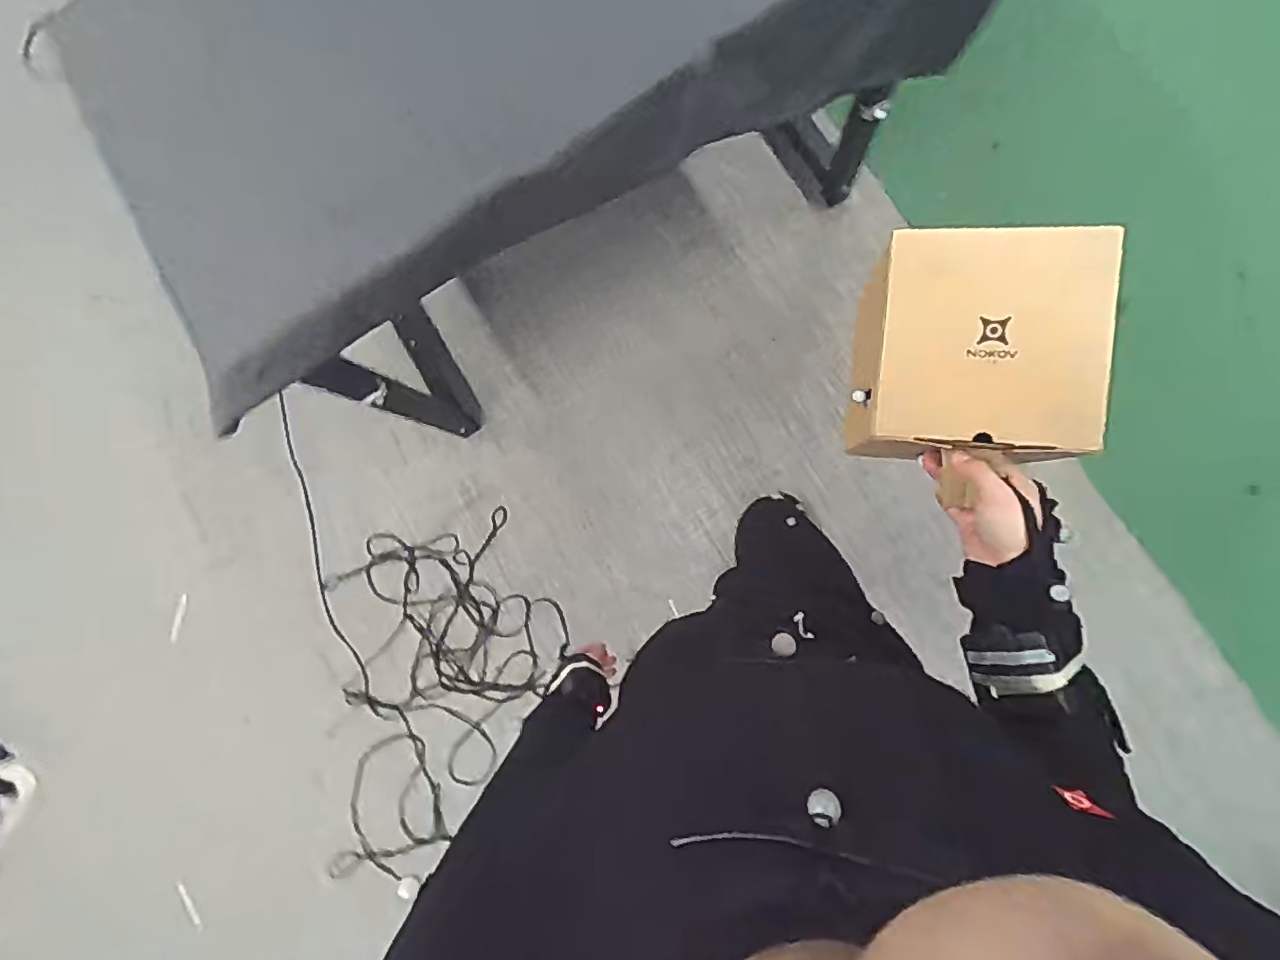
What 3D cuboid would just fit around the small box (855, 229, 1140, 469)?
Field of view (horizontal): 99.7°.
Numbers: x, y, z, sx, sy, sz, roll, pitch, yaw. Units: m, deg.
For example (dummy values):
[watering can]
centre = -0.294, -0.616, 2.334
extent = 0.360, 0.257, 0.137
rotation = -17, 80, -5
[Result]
[small box]
centre = 0.305, -0.108, 0.501
extent = 0.168, 0.176, 0.179
rotation = 6, 91, 12
